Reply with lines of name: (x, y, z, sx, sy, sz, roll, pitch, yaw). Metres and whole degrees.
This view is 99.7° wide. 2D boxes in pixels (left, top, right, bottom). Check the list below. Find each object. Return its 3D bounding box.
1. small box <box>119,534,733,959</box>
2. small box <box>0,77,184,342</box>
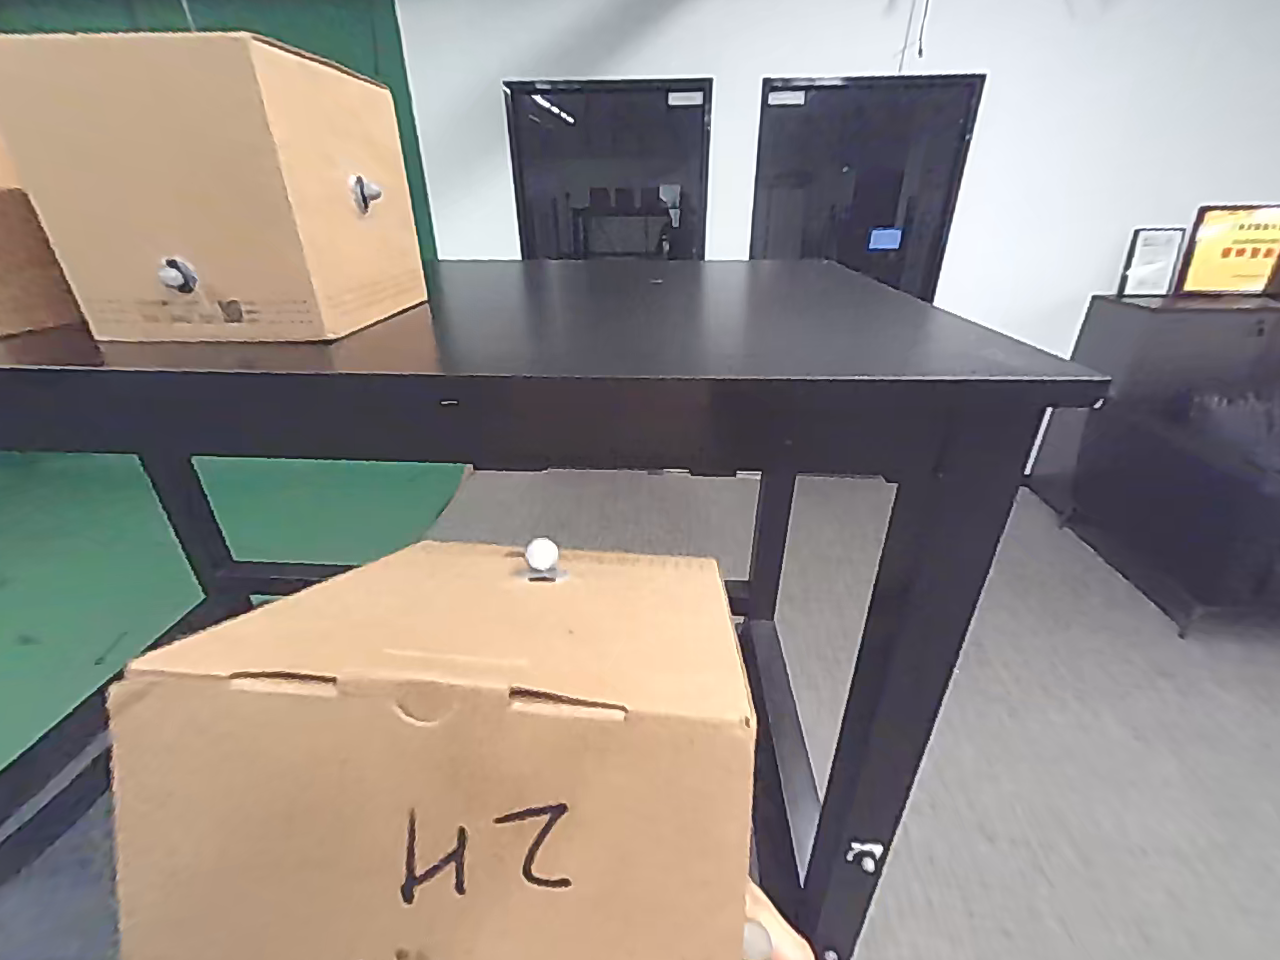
small box: (-0.054, 0.129, 0.226, 0.168, 0.179, 0.176, 3, 6, 4)
small box: (-0.523, -0.207, 0.423, 0.168, 0.176, 0.179, 2, 27, 5)
